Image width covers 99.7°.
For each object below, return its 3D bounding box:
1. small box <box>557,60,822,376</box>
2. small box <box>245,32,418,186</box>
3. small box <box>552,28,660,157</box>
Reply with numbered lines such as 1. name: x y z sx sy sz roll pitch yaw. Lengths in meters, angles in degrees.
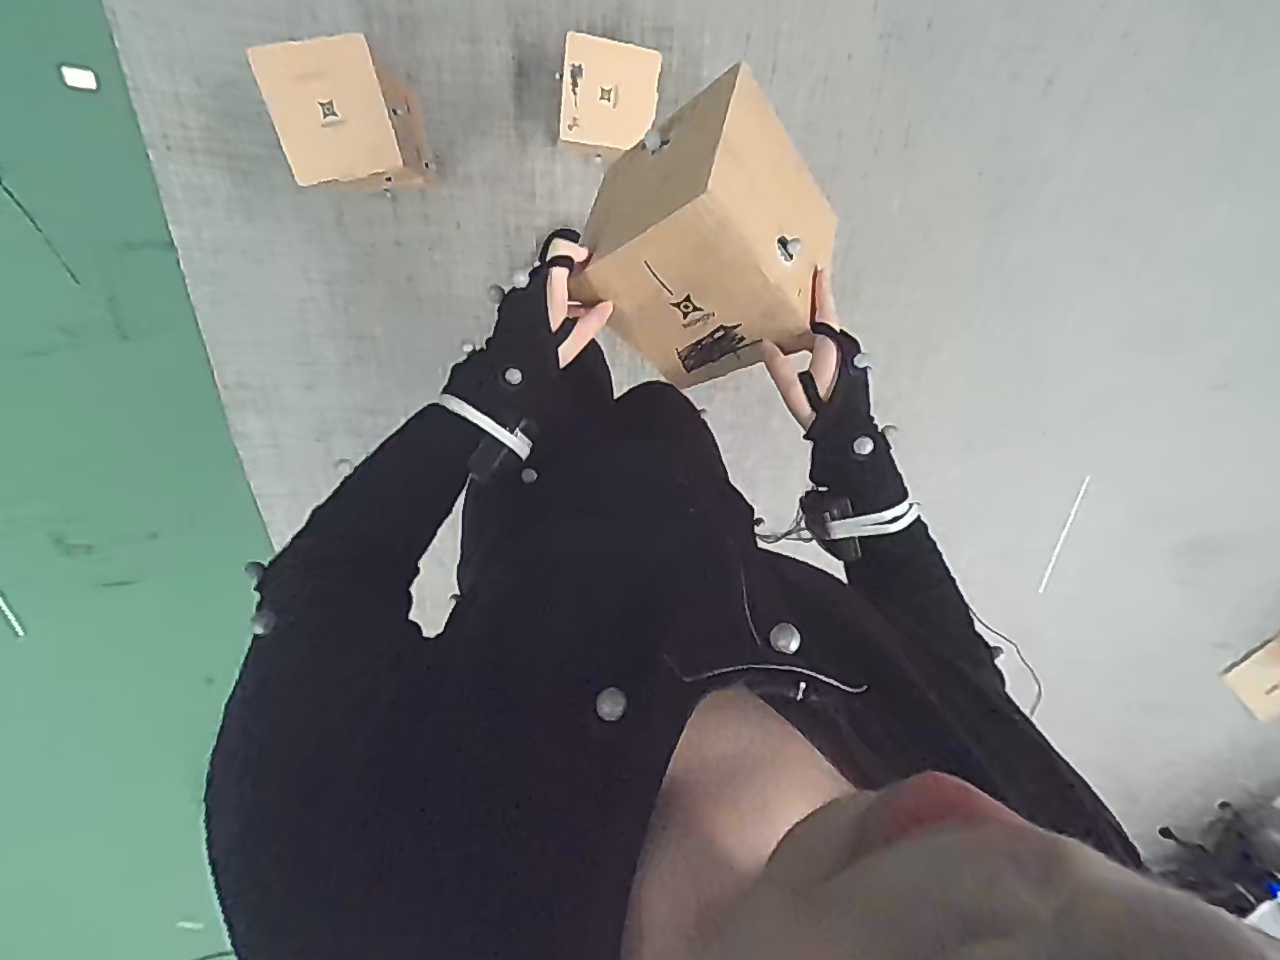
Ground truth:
1. small box: 0.057 -0.232 0.512 0.168 0.176 0.179 -11 144 43
2. small box: -0.476 -0.583 0.872 0.168 0.176 0.179 -12 117 -6
3. small box: -0.074 -0.740 1.058 0.179 0.176 0.168 4 115 -13
